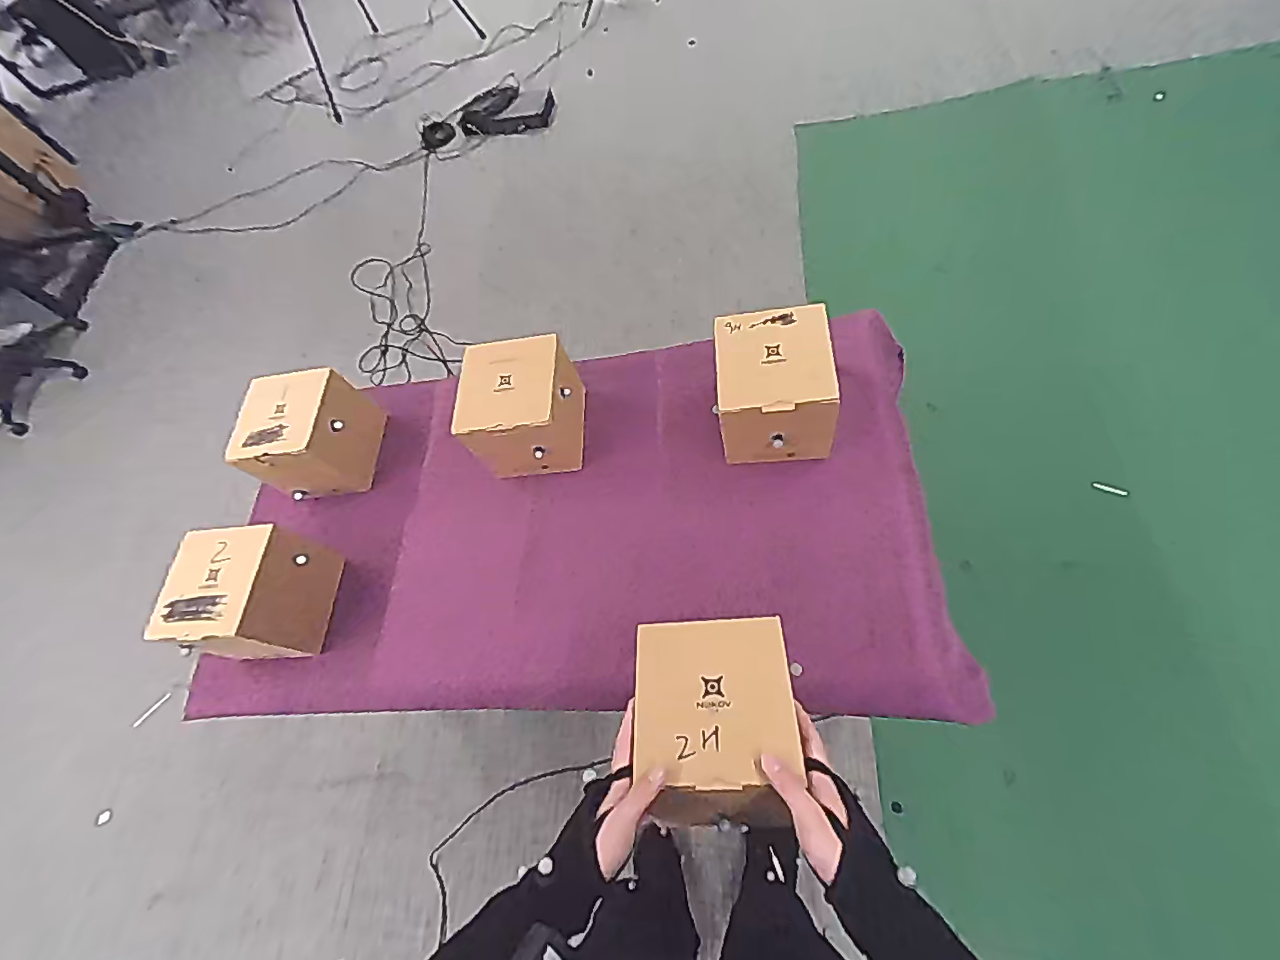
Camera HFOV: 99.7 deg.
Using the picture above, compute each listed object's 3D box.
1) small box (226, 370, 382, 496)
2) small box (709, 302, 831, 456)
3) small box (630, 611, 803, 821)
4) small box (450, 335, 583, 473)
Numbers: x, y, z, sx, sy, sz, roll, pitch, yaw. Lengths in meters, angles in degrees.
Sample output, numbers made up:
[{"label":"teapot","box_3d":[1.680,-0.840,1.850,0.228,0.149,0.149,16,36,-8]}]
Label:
[{"label":"small box","box_3d":[-0.618,-0.078,1.019,0.168,0.176,0.179,-6,63,10]},{"label":"small box","box_3d":[0.202,-0.146,0.850,0.168,0.176,0.179,-5,65,12]},{"label":"small box","box_3d":[0.087,0.272,0.623,0.168,0.176,0.179,-6,46,9]},{"label":"small box","box_3d":[-0.204,-0.121,0.941,0.168,0.176,0.179,-5,64,11]}]
